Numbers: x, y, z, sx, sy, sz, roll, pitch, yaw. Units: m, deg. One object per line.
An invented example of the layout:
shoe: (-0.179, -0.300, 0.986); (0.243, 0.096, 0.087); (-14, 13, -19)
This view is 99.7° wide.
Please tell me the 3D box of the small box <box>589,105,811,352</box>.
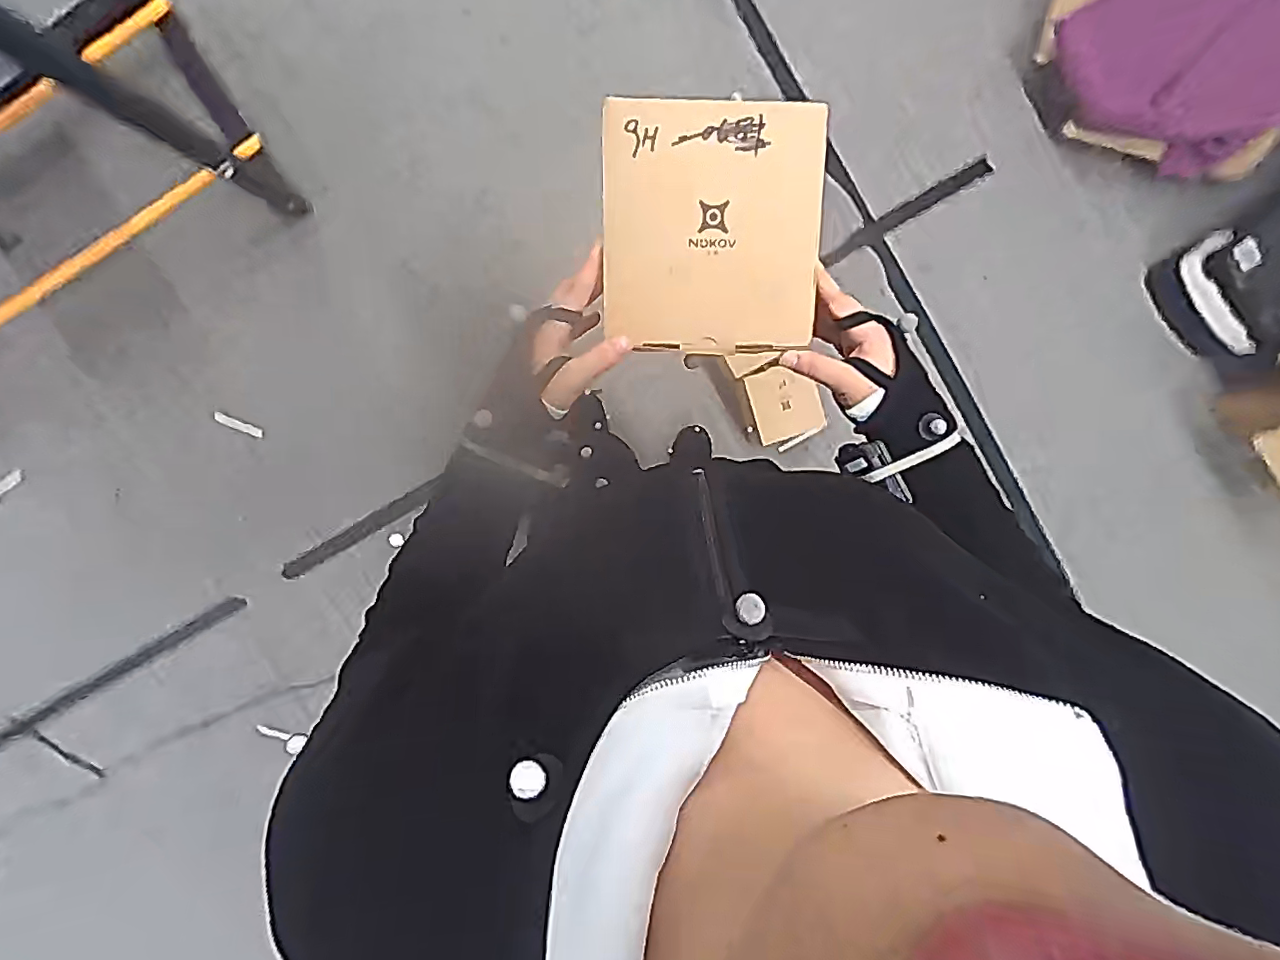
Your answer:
small box: (0.043, -0.210, 0.493); (0.168, 0.176, 0.179); (-1, 104, -1)
